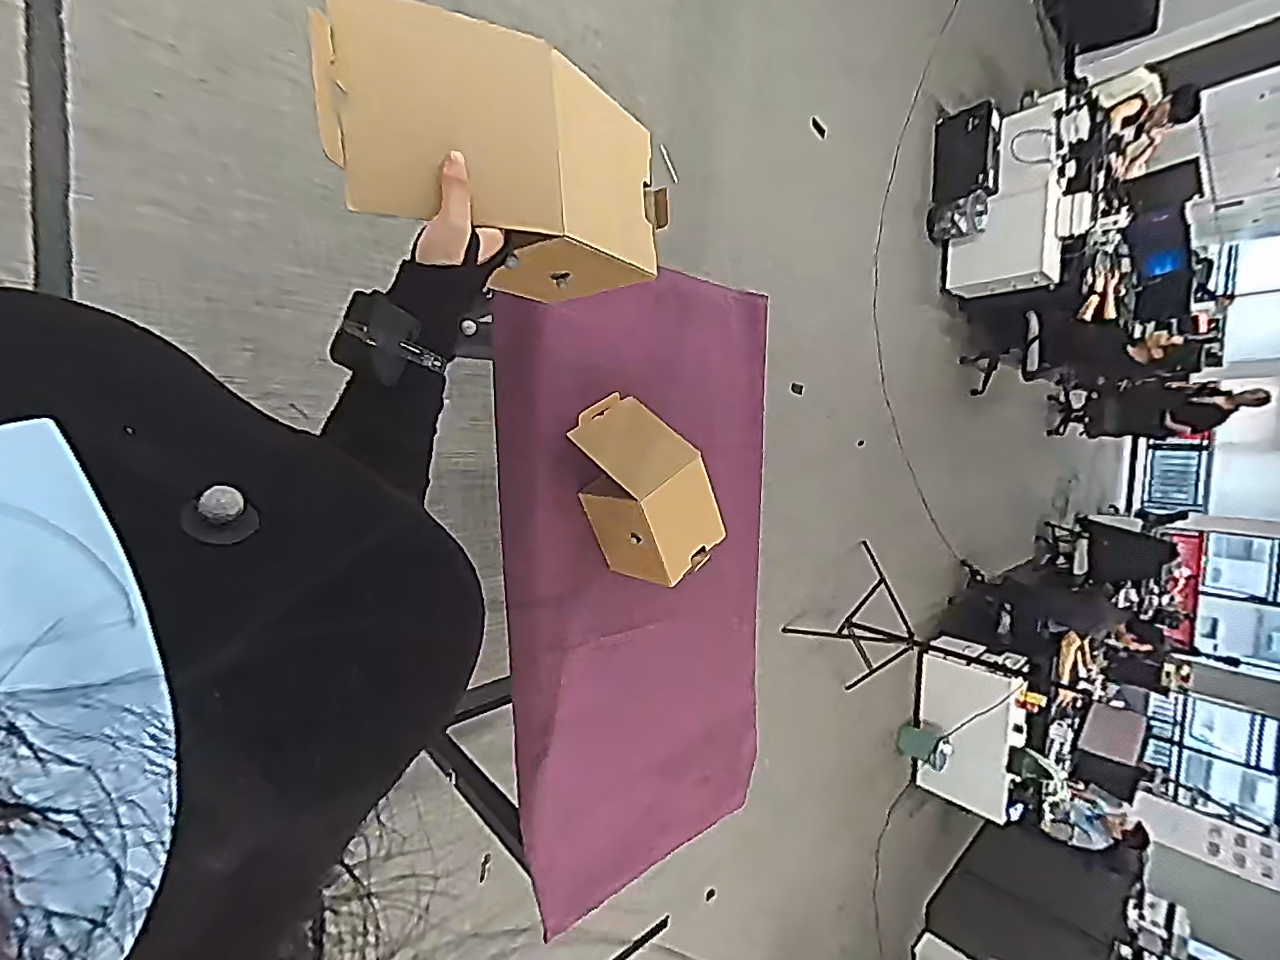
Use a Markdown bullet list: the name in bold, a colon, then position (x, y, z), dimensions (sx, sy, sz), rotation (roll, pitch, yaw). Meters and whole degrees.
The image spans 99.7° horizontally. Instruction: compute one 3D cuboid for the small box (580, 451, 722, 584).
- **small box**: position (0.018, 0.059, 0.983), dimensions (0.168, 0.176, 0.179), rotation (-36, 117, -34)
